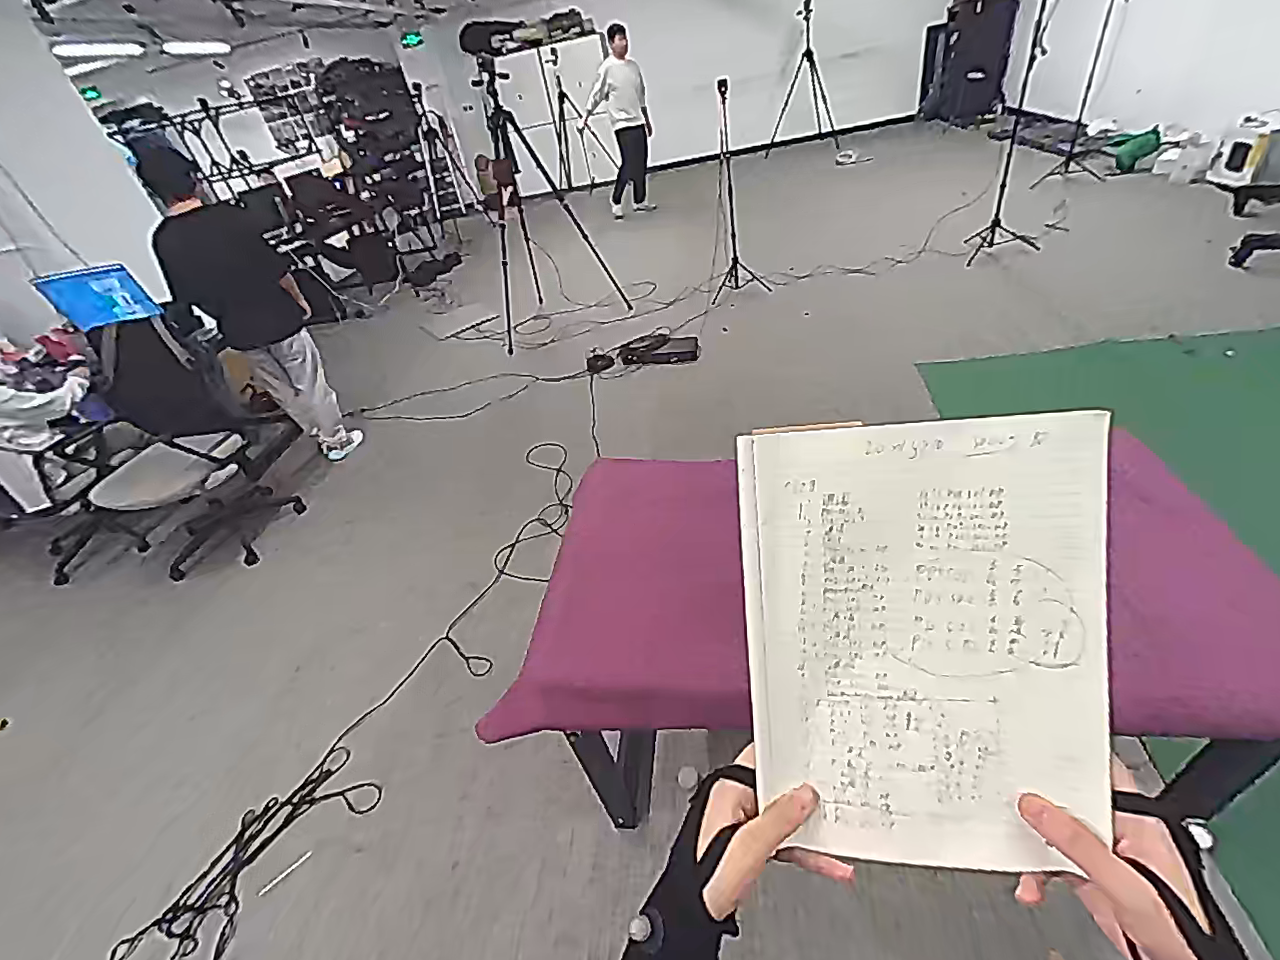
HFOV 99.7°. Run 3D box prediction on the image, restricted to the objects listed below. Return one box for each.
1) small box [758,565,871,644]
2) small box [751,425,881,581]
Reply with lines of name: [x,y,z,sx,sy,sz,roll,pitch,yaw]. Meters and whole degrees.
small box: [0.289,0.163,0.924,0.168,0.176,0.179,-3,39,12]
small box: [0.258,0.038,0.819,0.168,0.176,0.179,-3,37,13]
